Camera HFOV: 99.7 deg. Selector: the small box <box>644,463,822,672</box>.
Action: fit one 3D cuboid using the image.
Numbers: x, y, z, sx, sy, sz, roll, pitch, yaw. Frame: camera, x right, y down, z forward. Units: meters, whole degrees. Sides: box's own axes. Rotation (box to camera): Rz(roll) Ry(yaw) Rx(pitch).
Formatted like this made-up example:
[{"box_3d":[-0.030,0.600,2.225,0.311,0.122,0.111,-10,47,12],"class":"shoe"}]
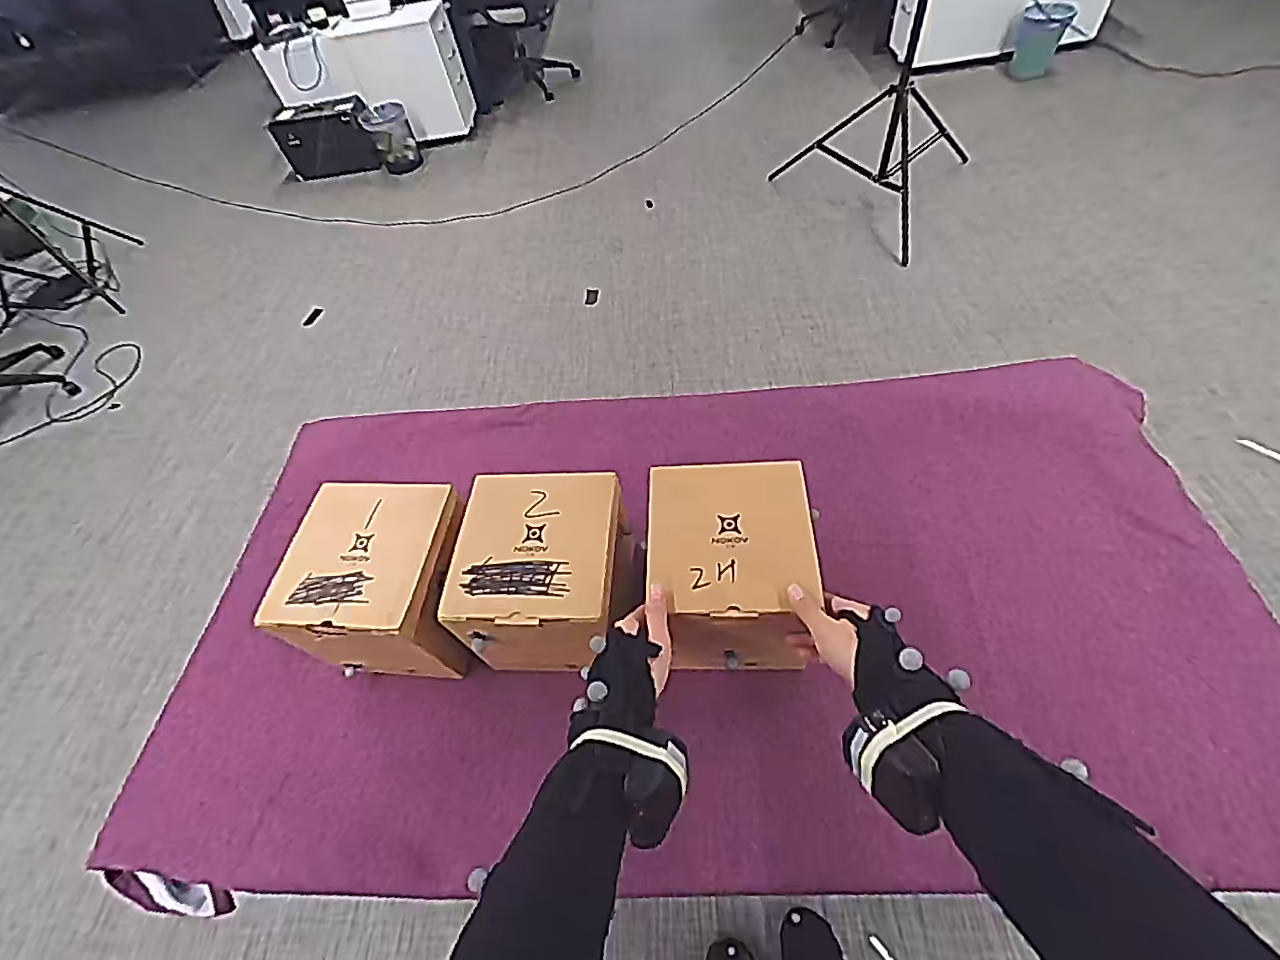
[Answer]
[{"box_3d":[0.098,0.101,0.609,0.168,0.176,0.179,-3,54,8],"class":"small box"}]
